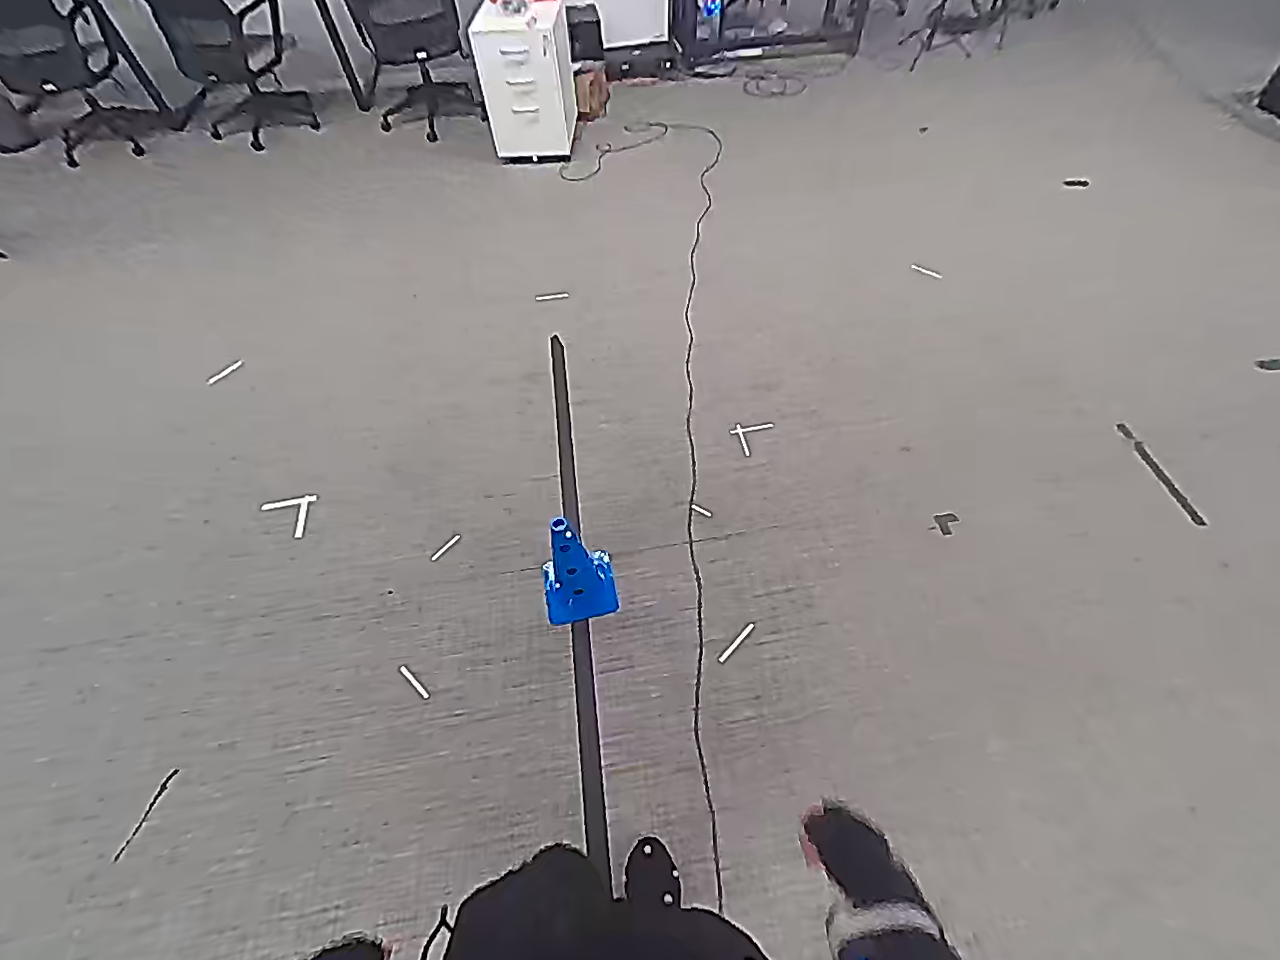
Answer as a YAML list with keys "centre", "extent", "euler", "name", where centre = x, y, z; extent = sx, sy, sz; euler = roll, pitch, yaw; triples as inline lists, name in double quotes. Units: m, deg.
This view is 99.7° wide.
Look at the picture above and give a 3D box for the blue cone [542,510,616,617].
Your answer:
- centre: [-0.187, 0.193, 1.402]
  extent: [0.192, 0.380, 0.193]
  euler: [-13, 54, -6]
  name: "blue cone"
